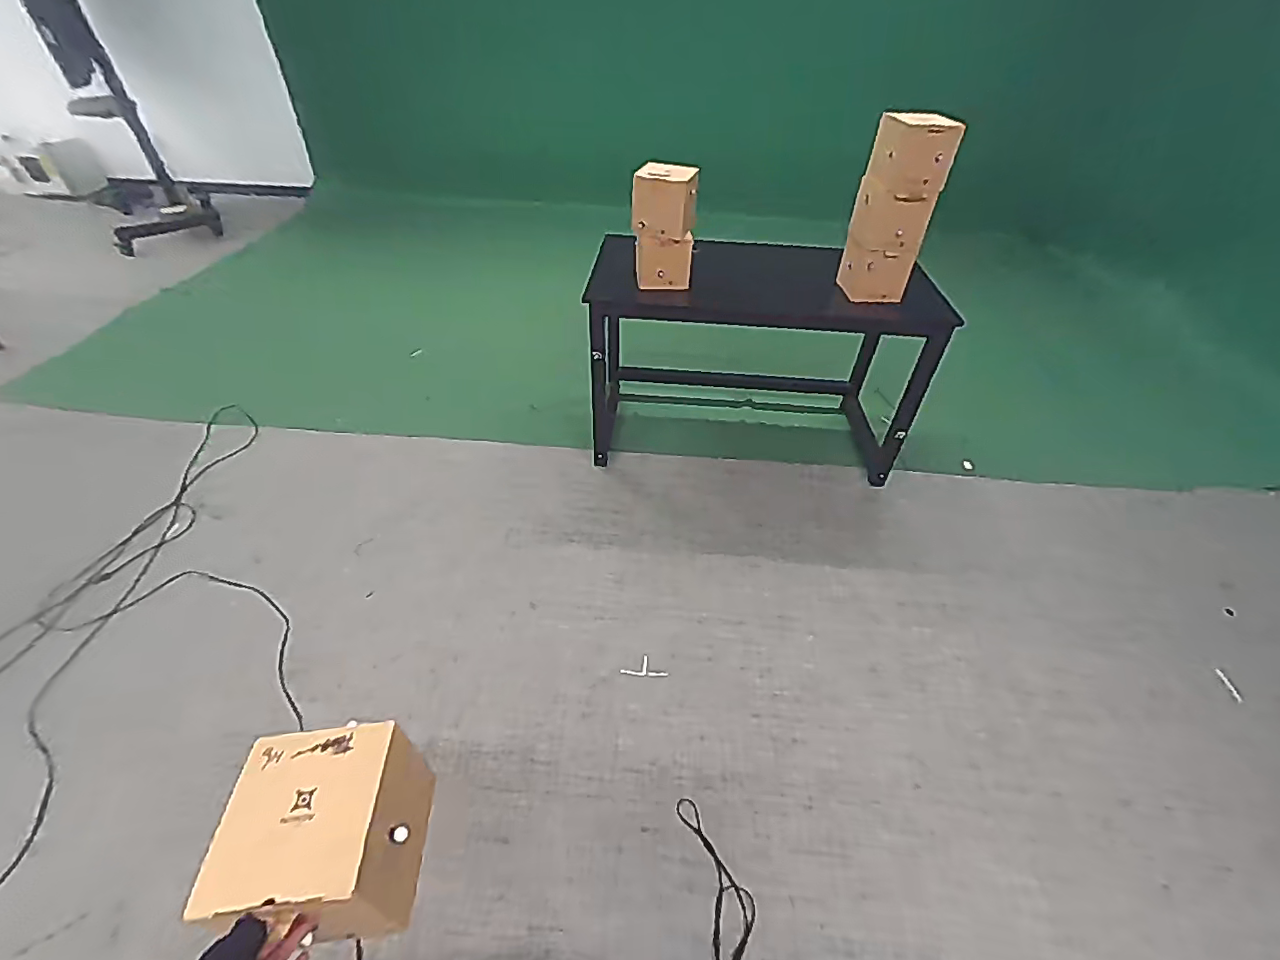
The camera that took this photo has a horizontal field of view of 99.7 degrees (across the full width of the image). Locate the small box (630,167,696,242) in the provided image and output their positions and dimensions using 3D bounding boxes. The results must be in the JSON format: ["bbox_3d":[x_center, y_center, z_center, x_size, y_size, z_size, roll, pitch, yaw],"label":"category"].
[{"bbox_3d":[0.072,-0.865,1.700,0.168,0.176,0.179,14,43,11],"label":"small box"}]

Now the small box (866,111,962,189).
[{"bbox_3d":[0.778,-0.949,1.555,0.168,0.176,0.179,-1,42,-4],"label":"small box"}]

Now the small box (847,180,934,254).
[{"bbox_3d":[0.766,-0.816,1.675,0.168,0.176,0.179,-2,42,-3],"label":"small box"}]

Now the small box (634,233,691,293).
[{"bbox_3d":[0.070,-0.744,1.811,0.168,0.176,0.179,-1,44,-5],"label":"small box"}]

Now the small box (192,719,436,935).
[{"bbox_3d":[-0.358,0.413,0.641,0.168,0.176,0.179,-5,42,-2],"label":"small box"}]
